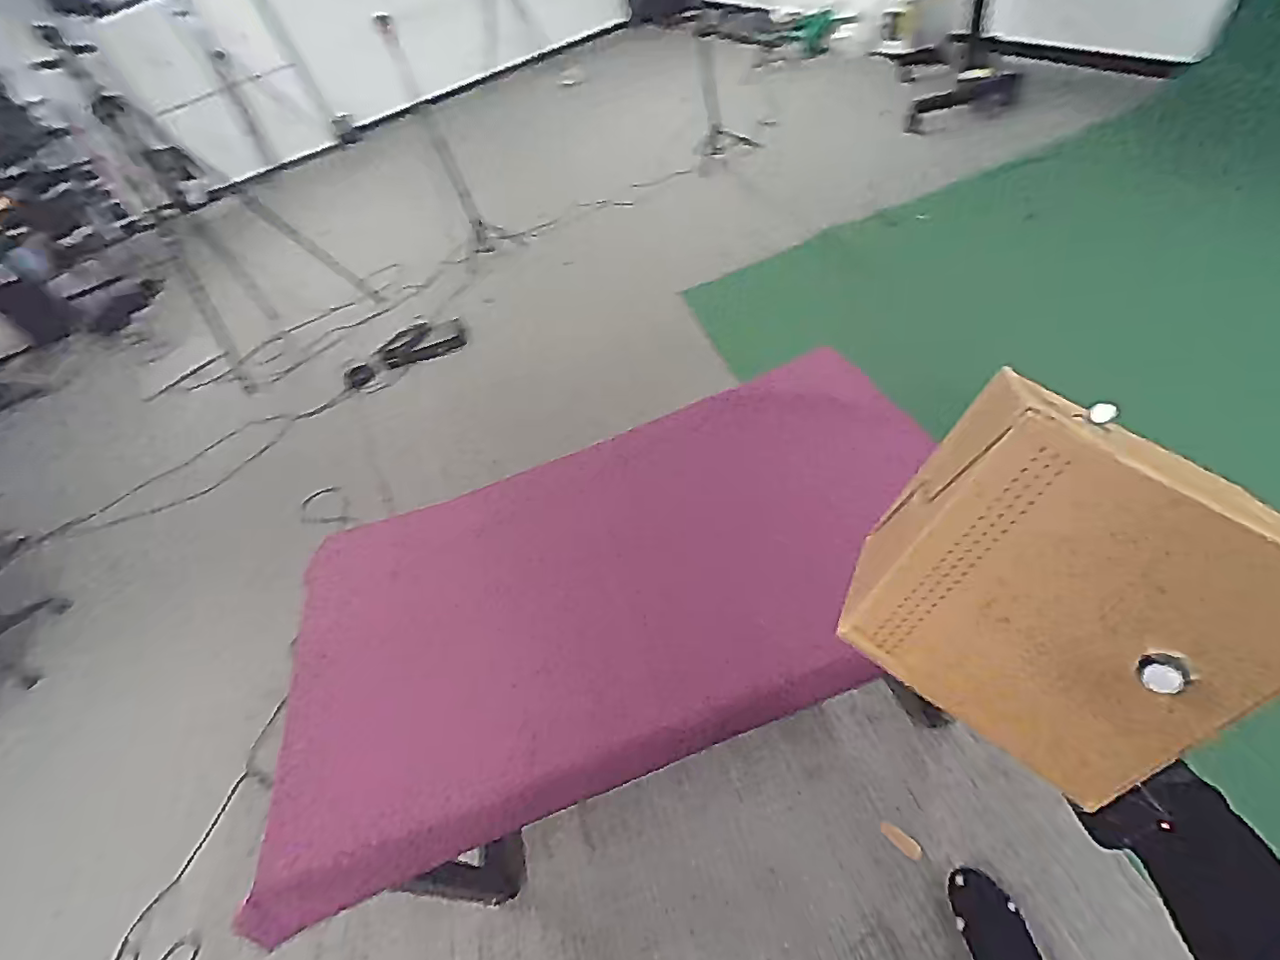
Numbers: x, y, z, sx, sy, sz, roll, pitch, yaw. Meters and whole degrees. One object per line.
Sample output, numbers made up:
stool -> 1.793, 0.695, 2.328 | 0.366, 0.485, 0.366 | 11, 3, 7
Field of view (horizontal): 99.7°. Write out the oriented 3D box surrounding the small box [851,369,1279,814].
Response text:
small box -> 0.254, 0.053, 0.345 | 0.176, 0.179, 0.168 | 35, 31, 16
